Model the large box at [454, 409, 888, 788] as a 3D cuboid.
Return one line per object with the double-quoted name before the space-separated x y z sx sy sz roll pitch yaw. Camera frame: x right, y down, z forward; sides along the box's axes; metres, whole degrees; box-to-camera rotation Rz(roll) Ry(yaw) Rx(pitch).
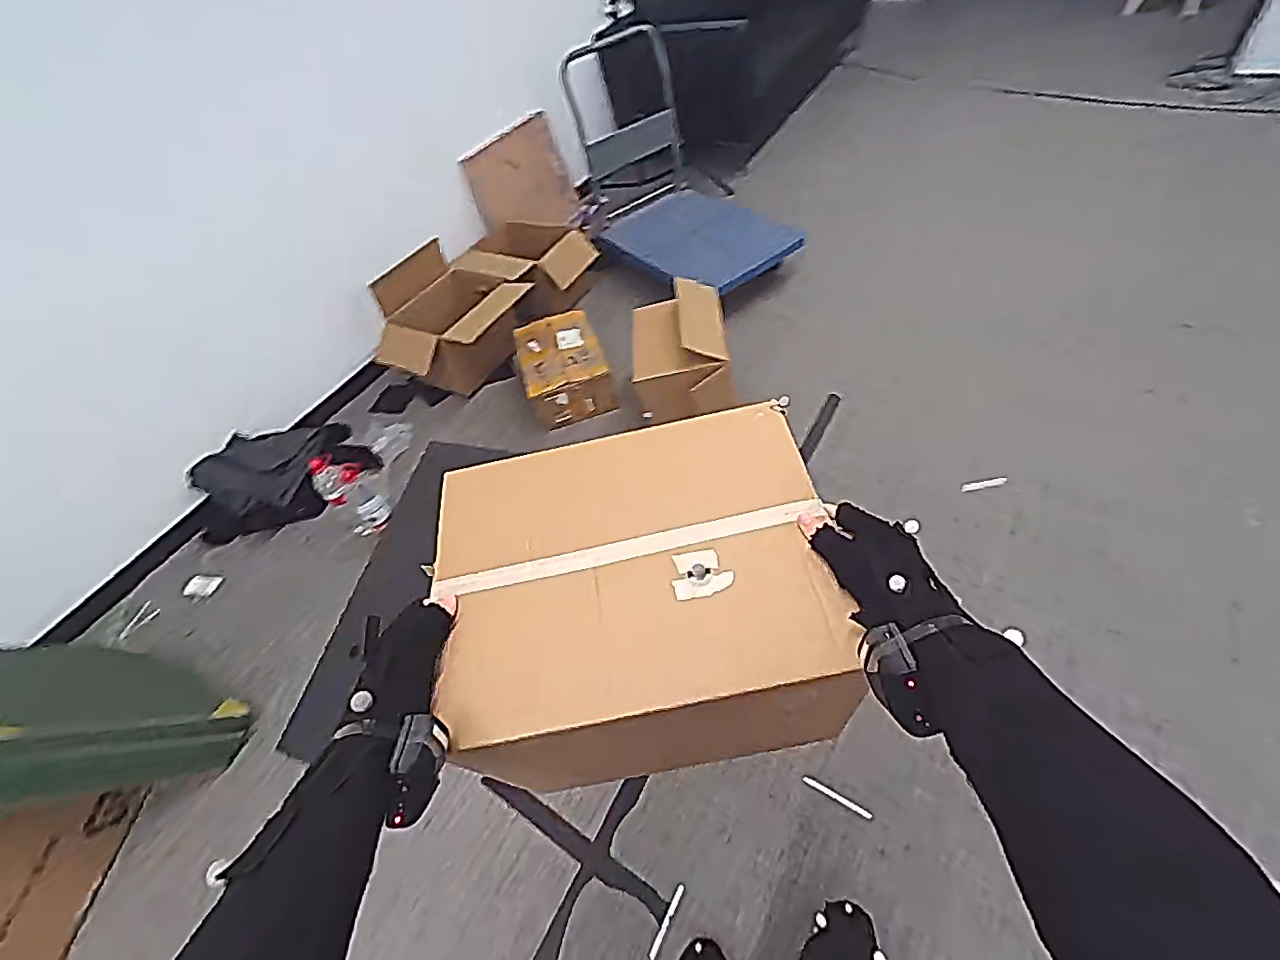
"large box" 0.025 0.162 0.683 0.408 0.320 0.320 -12 54 2
